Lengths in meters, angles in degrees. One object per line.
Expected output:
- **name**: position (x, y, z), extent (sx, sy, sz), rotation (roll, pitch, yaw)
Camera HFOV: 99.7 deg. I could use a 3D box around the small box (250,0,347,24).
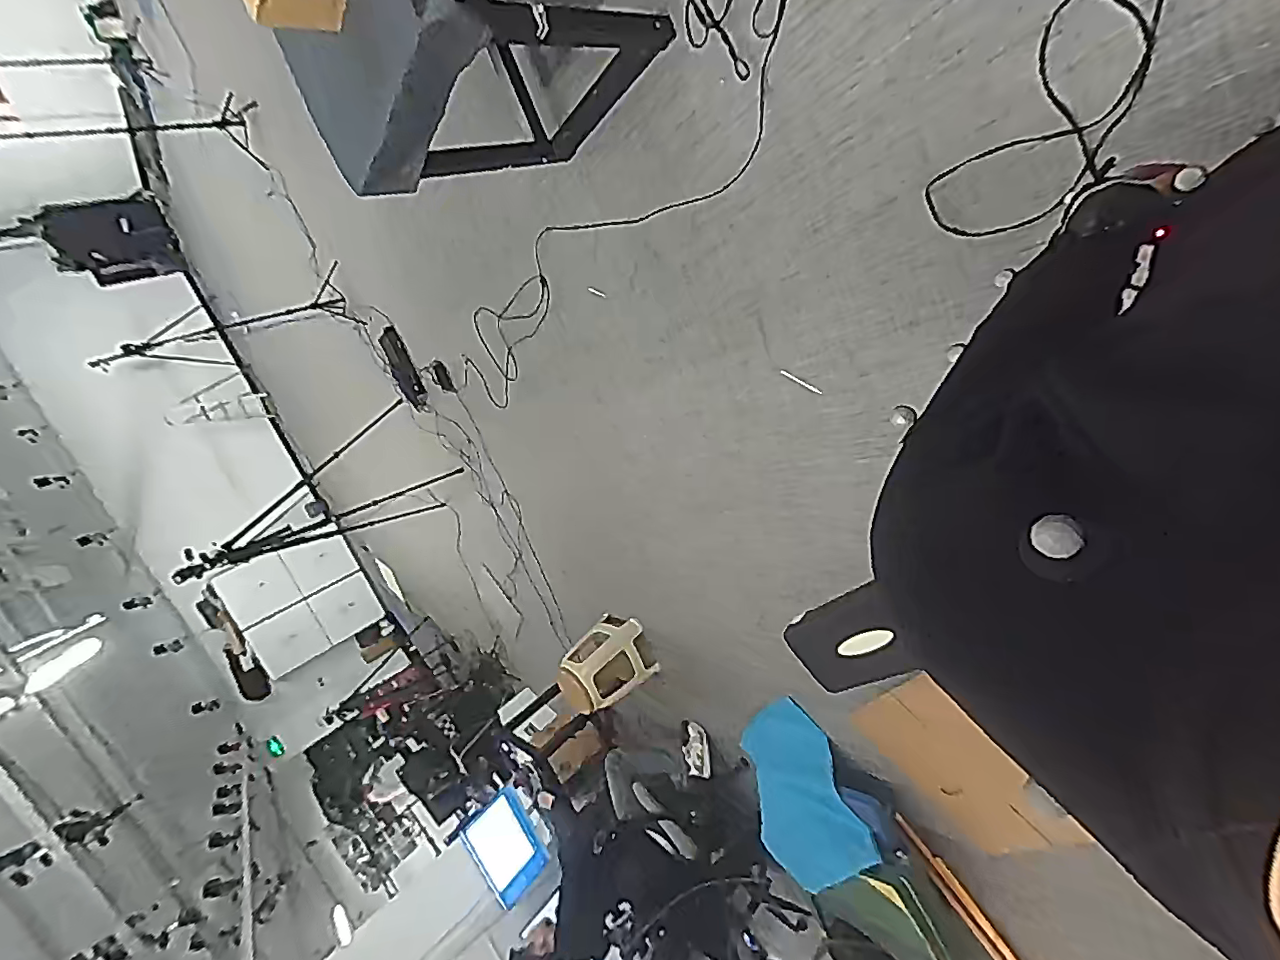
- **small box**: position (-0.675, -1.023, 1.034), extent (0.168, 0.176, 0.179), rotation (-11, 106, 52)
